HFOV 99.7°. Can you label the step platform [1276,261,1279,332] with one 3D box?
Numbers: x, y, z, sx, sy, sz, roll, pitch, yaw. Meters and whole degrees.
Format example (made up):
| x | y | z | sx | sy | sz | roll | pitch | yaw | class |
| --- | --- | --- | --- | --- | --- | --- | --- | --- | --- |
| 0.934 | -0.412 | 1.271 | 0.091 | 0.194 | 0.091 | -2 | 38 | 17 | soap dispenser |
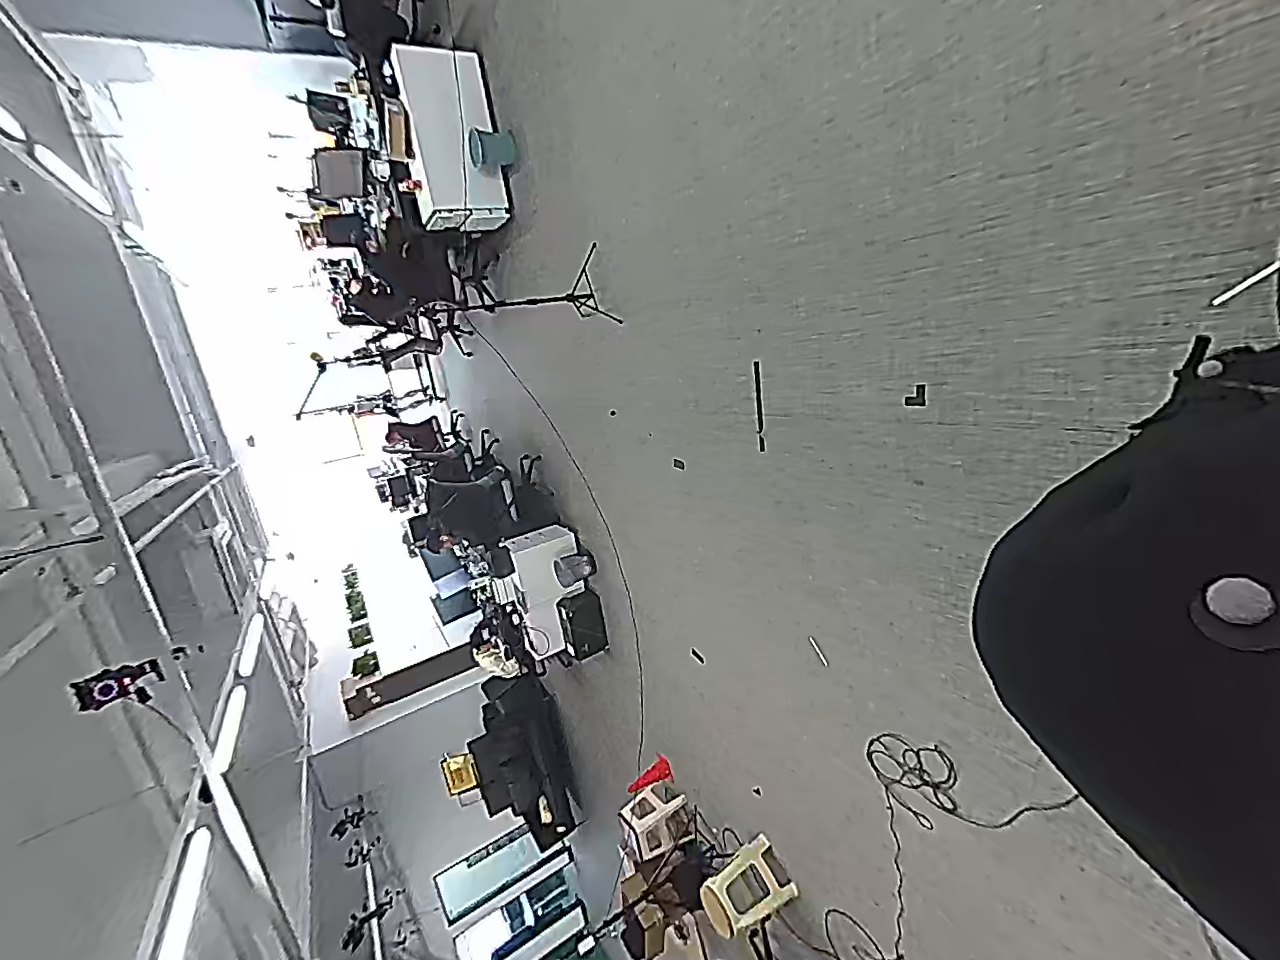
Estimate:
| x | y | z | sx | sy | sz | roll | pitch | yaw | class |
| --- | --- | --- | --- | --- | --- | --- | --- | --- | --- |
| 1.334 | -0.329 | 0.686 | 0.684 | 0.204 | 0.286 | 13 | 118 | 58 | step platform |
